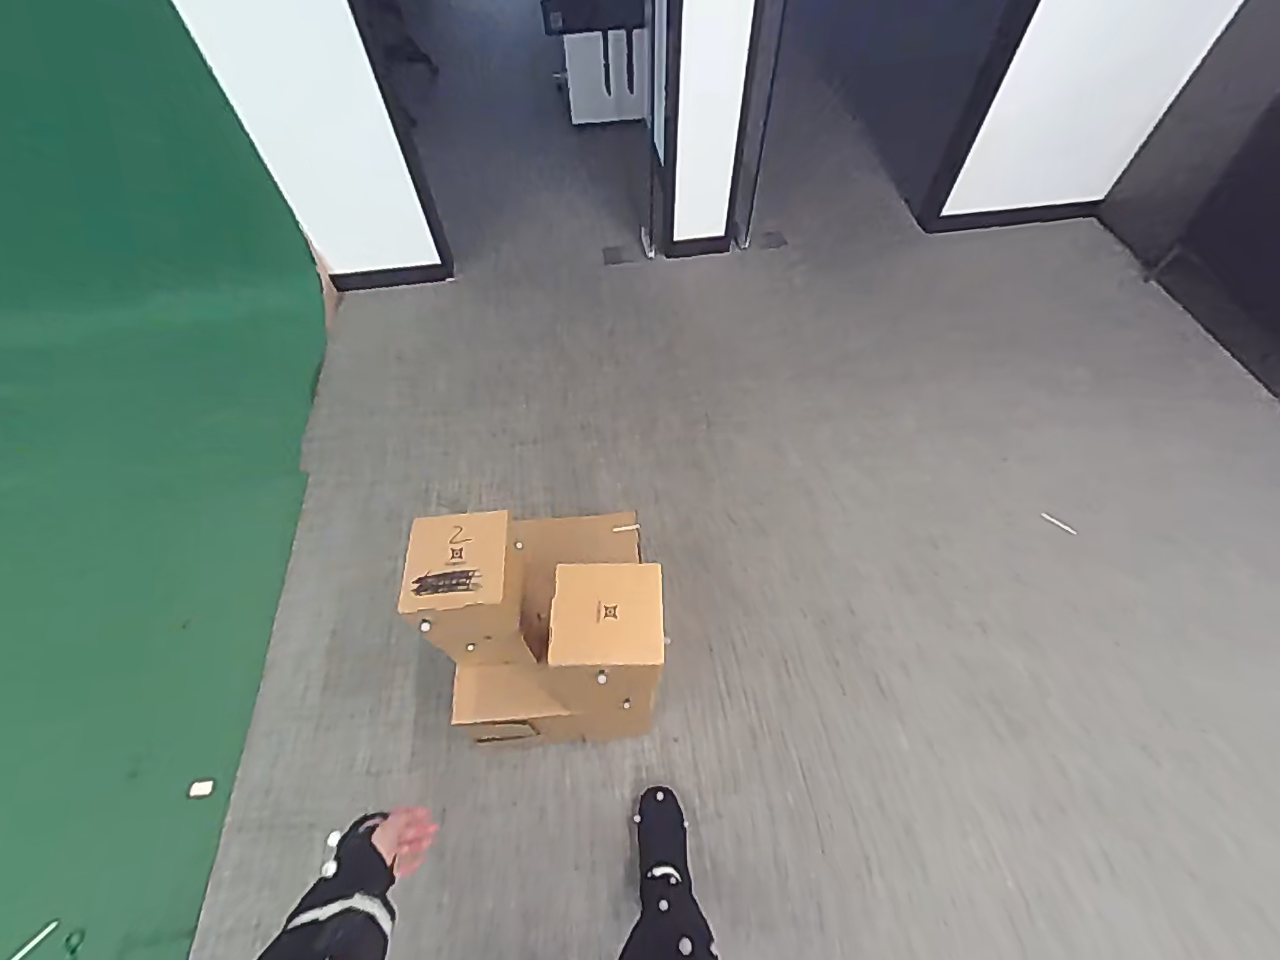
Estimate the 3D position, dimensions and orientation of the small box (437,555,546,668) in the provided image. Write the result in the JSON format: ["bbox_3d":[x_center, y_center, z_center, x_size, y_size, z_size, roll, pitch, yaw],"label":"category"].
[{"bbox_3d":[-0.289,0.268,1.097,0.168,0.176,0.179,-2,54,1],"label":"small box"}]

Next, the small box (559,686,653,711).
[{"bbox_3d":[-0.058,0.340,1.042,0.168,0.176,0.179,0,54,-1],"label":"small box"}]

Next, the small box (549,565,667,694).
[{"bbox_3d":[-0.048,0.253,0.905,0.179,0.176,0.168,0,56,0],"label":"small box"}]
